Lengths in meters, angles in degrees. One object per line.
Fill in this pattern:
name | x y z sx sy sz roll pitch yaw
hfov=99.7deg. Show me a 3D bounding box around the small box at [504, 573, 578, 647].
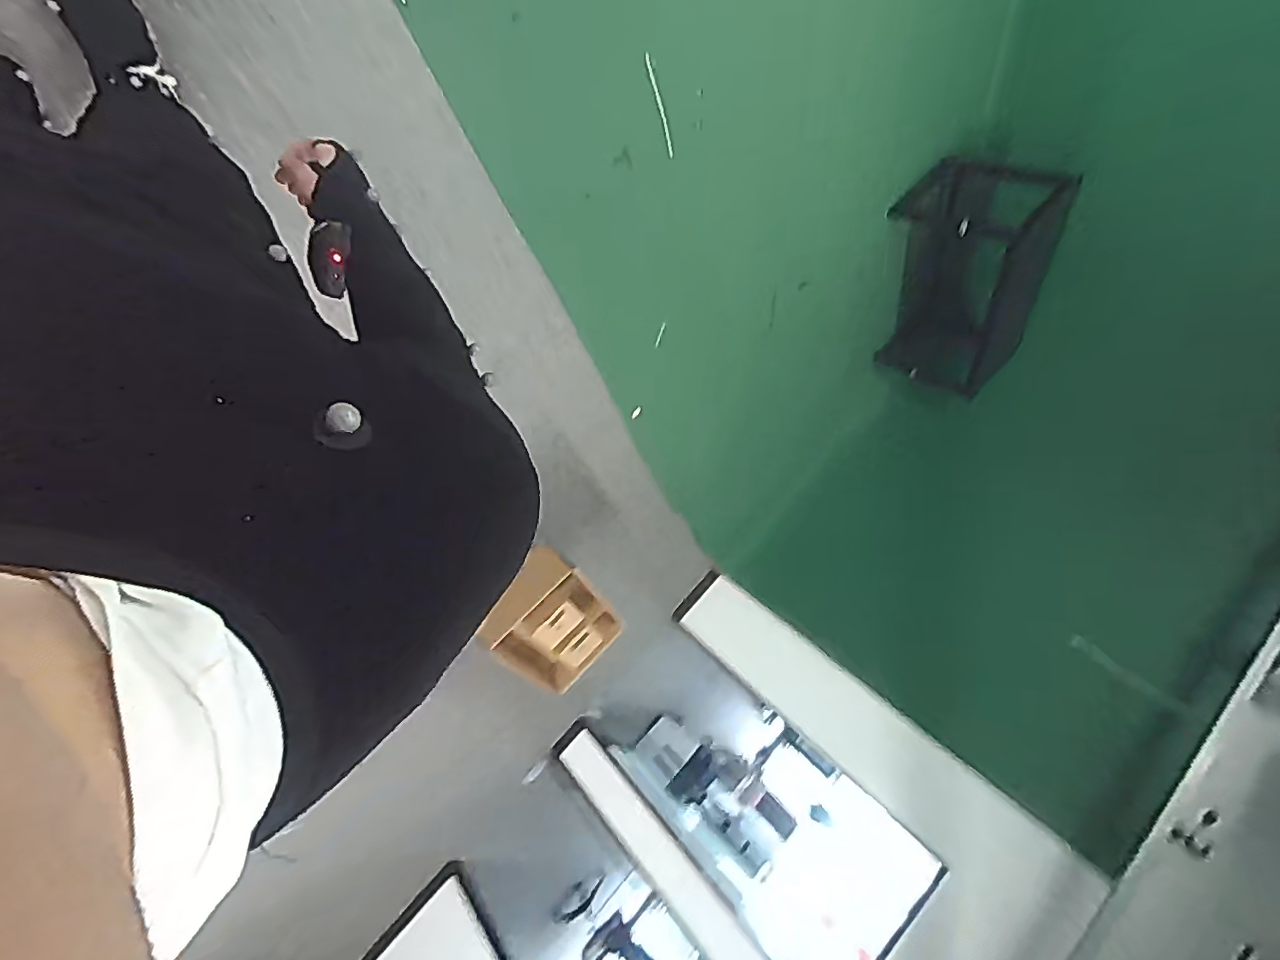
small box | -0.360 0.464 1.949 0.168 0.176 0.179 -43 145 -14
